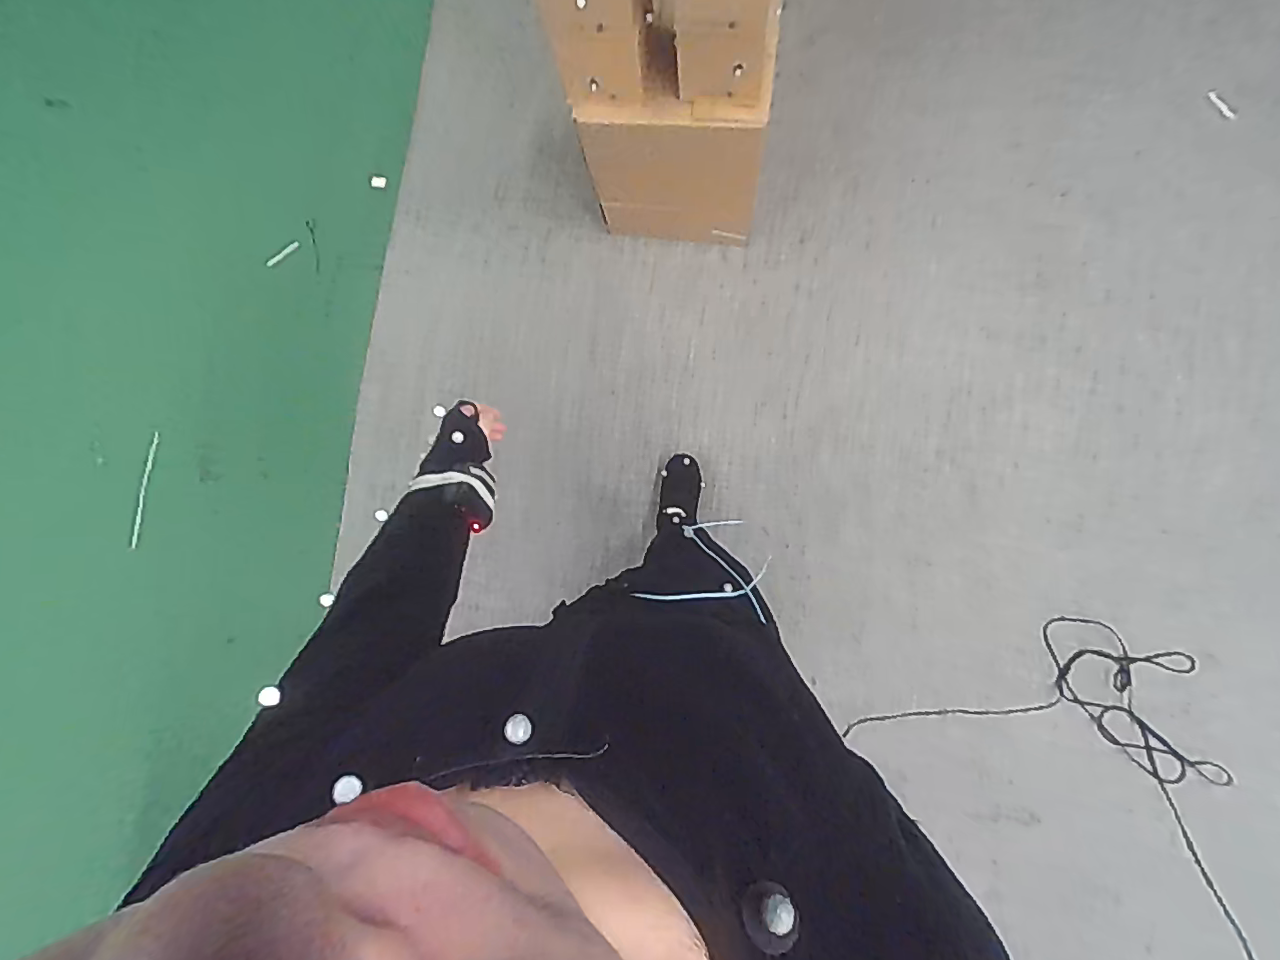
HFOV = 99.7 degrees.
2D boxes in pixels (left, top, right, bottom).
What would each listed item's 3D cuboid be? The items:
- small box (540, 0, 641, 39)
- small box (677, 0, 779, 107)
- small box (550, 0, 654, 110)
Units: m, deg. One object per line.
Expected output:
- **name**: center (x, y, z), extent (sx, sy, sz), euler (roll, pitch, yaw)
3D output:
- **small box**: center (-0.081, -0.883, 0.897), extent (0.168, 0.176, 0.179), euler (9, 87, 5)
- **small box**: center (0.170, -0.857, 1.033), extent (0.168, 0.176, 0.179), euler (11, 85, 7)
- **small box**: center (-0.065, -0.876, 1.060), extent (0.168, 0.176, 0.179), euler (8, 87, 6)
